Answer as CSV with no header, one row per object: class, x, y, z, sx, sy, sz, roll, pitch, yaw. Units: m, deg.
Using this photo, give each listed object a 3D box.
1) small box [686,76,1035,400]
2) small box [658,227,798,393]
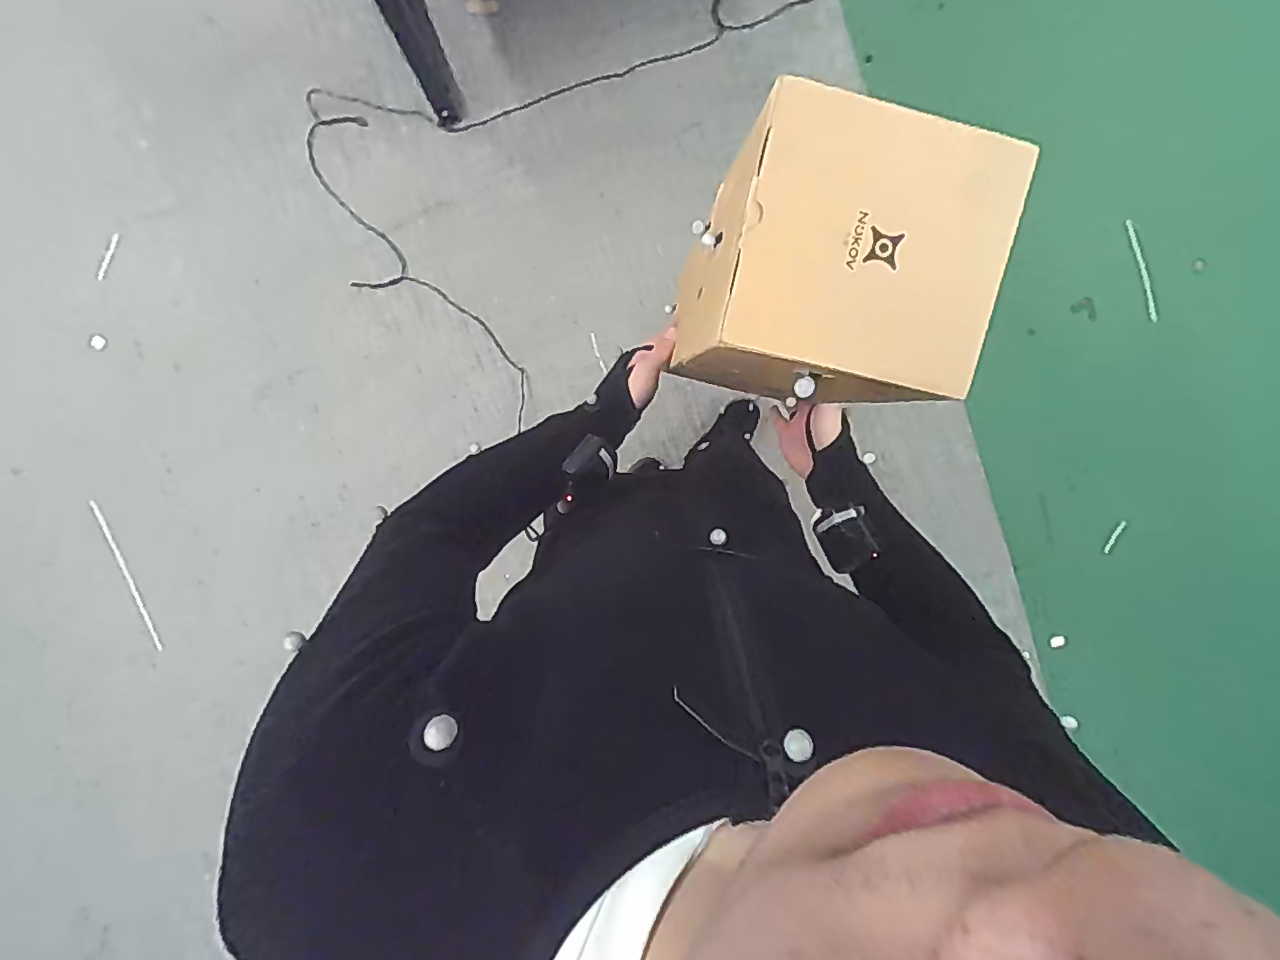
small box,0.146,-0.162,0.425,0.179,0.176,0.168,11,97,-4
small box,0.132,-0.221,0.747,0.179,0.176,0.168,13,97,-4
